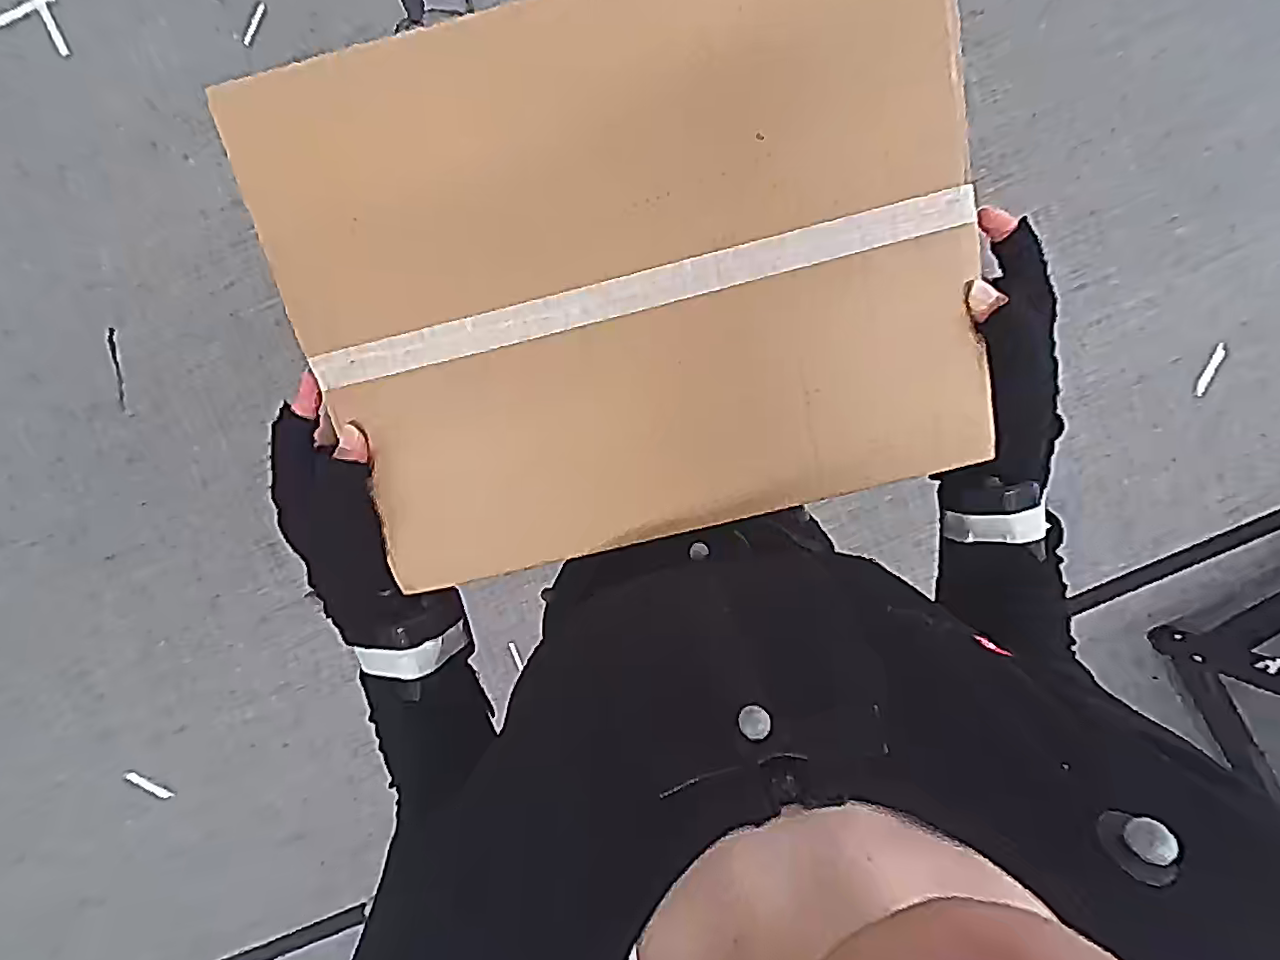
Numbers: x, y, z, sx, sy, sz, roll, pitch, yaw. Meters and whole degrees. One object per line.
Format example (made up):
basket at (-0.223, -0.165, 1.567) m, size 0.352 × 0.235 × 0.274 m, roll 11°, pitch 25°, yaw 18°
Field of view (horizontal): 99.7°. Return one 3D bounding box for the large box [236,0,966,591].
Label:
large box at (-0.007, -0.149, 0.481) m, size 0.408 × 0.320 × 0.320 m, roll -13°, pitch 104°, yaw 3°
